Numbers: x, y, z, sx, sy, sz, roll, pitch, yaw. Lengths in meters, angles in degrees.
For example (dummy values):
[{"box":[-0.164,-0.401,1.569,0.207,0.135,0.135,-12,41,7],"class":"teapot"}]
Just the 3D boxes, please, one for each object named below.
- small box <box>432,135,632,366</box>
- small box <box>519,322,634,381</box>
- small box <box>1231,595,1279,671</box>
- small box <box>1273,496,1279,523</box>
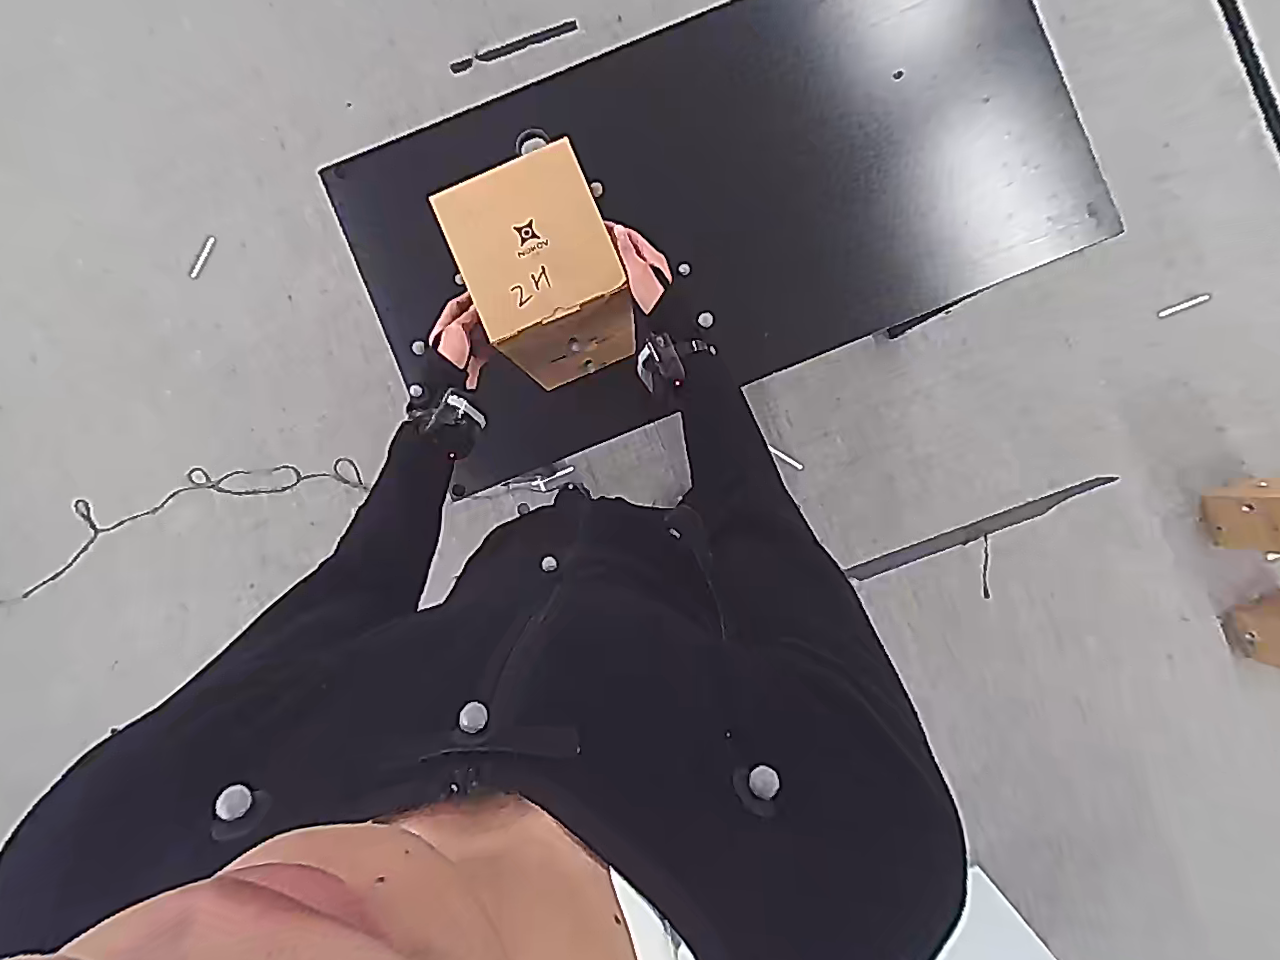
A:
[{"box":[-0.116,-0.259,0.654,0.168,0.176,0.179,-23,91,2],"class":"small box"},{"box":[-0.114,-0.260,0.819,0.168,0.176,0.179,-23,91,1],"class":"small box"},{"box":[1.880,0.443,1.543,0.179,0.176,0.168,-23,90,2],"class":"small box"},{"box":[1.788,0.105,1.369,0.168,0.176,0.179,-21,92,1],"class":"small box"}]
